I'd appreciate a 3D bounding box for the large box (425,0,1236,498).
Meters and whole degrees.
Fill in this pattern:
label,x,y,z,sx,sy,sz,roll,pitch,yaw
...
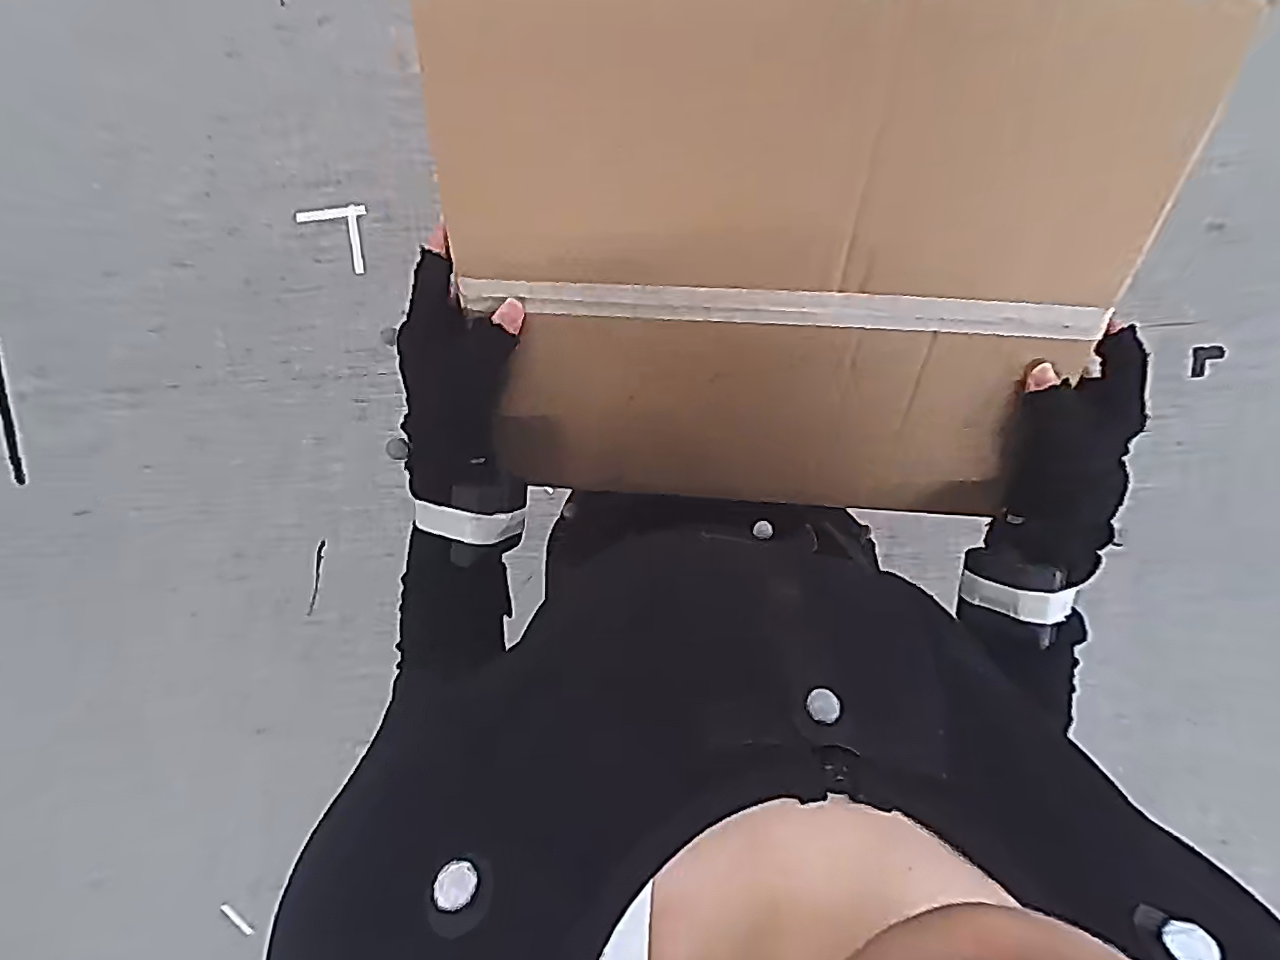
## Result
label,x,y,z,sx,sy,sz,roll,pitch,yaw
large box,0.093,-0.207,0.472,0.408,0.320,0.320,4,128,2
